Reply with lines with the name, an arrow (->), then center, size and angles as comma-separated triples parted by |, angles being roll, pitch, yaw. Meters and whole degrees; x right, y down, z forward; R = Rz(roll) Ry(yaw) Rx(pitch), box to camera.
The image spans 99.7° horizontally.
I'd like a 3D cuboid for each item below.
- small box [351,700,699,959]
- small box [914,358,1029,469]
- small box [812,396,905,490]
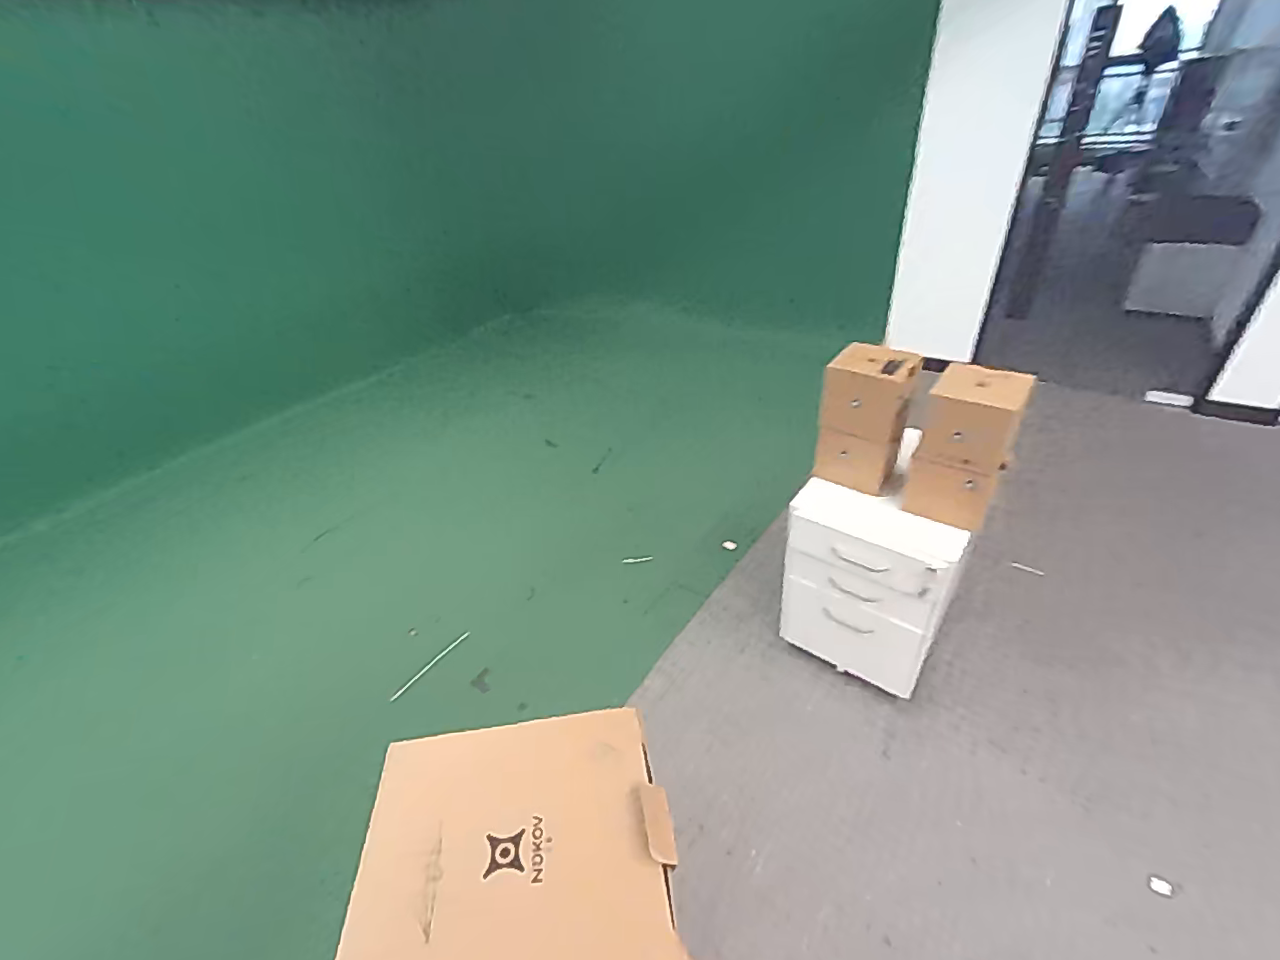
small box -> -0.063, 0.279, 0.359 | 0.179, 0.176, 0.168 | -7, 33, -5
small box -> 0.729, -0.147, 1.202 | 0.168, 0.176, 0.179 | 23, 46, 33
small box -> 0.575, -0.097, 1.438 | 0.179, 0.176, 0.168 | 22, 46, 31
